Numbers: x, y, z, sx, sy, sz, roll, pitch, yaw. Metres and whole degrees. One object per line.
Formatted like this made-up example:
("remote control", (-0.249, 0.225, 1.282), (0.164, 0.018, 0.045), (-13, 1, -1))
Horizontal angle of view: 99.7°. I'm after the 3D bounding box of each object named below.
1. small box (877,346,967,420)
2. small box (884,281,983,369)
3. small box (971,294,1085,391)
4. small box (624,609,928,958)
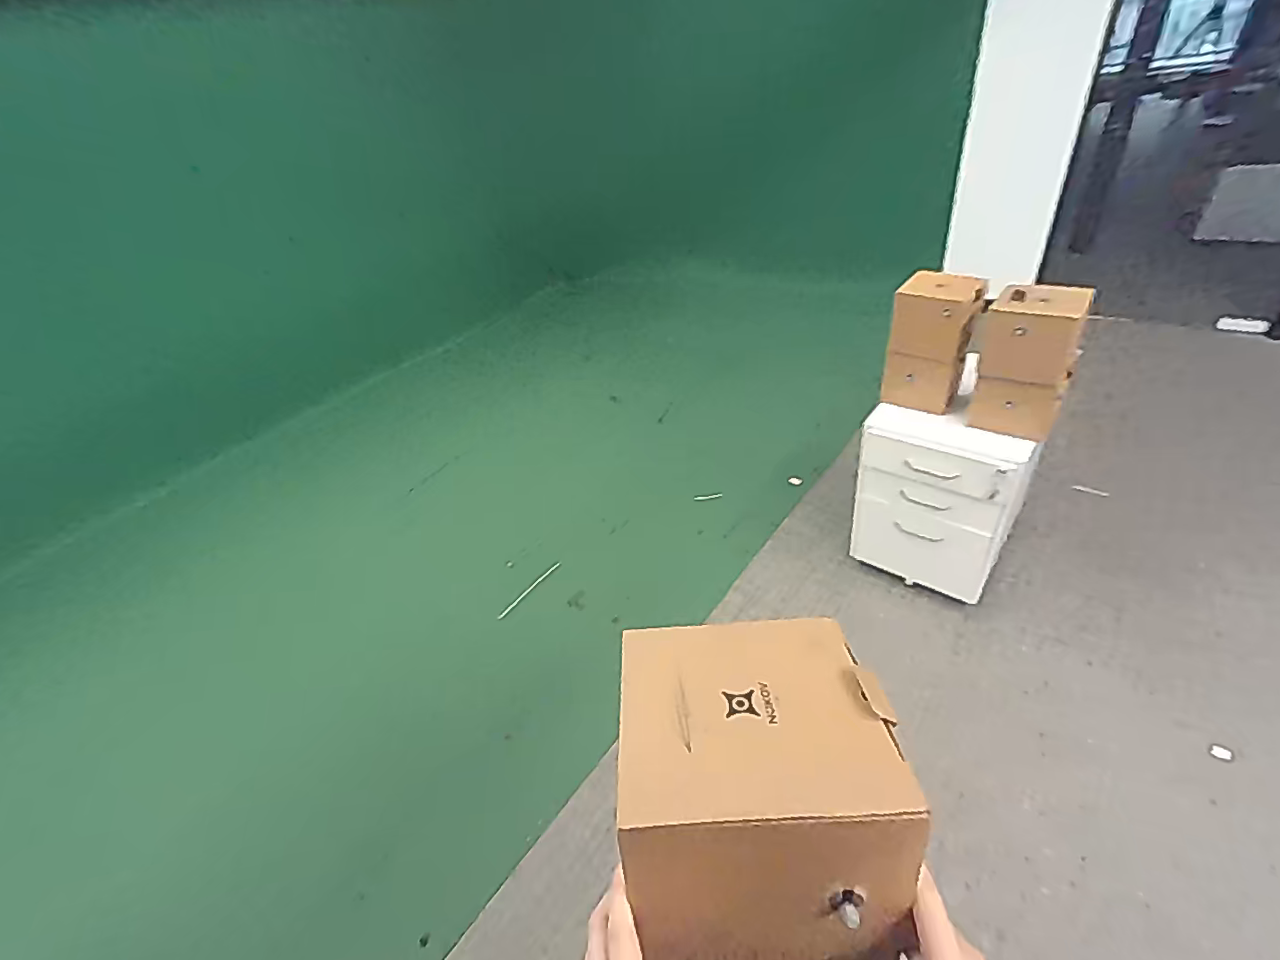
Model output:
("small box", (0.806, -0.293, 1.558), (0.179, 0.176, 0.168), (23, 49, 34))
("small box", (0.781, -0.418, 1.455), (0.179, 0.176, 0.168), (25, 50, 34))
("small box", (0.928, -0.332, 1.305), (0.179, 0.176, 0.168), (22, 48, 36))
("small box", (0.084, 0.221, 0.412), (0.179, 0.176, 0.168), (-5, 24, 2))
